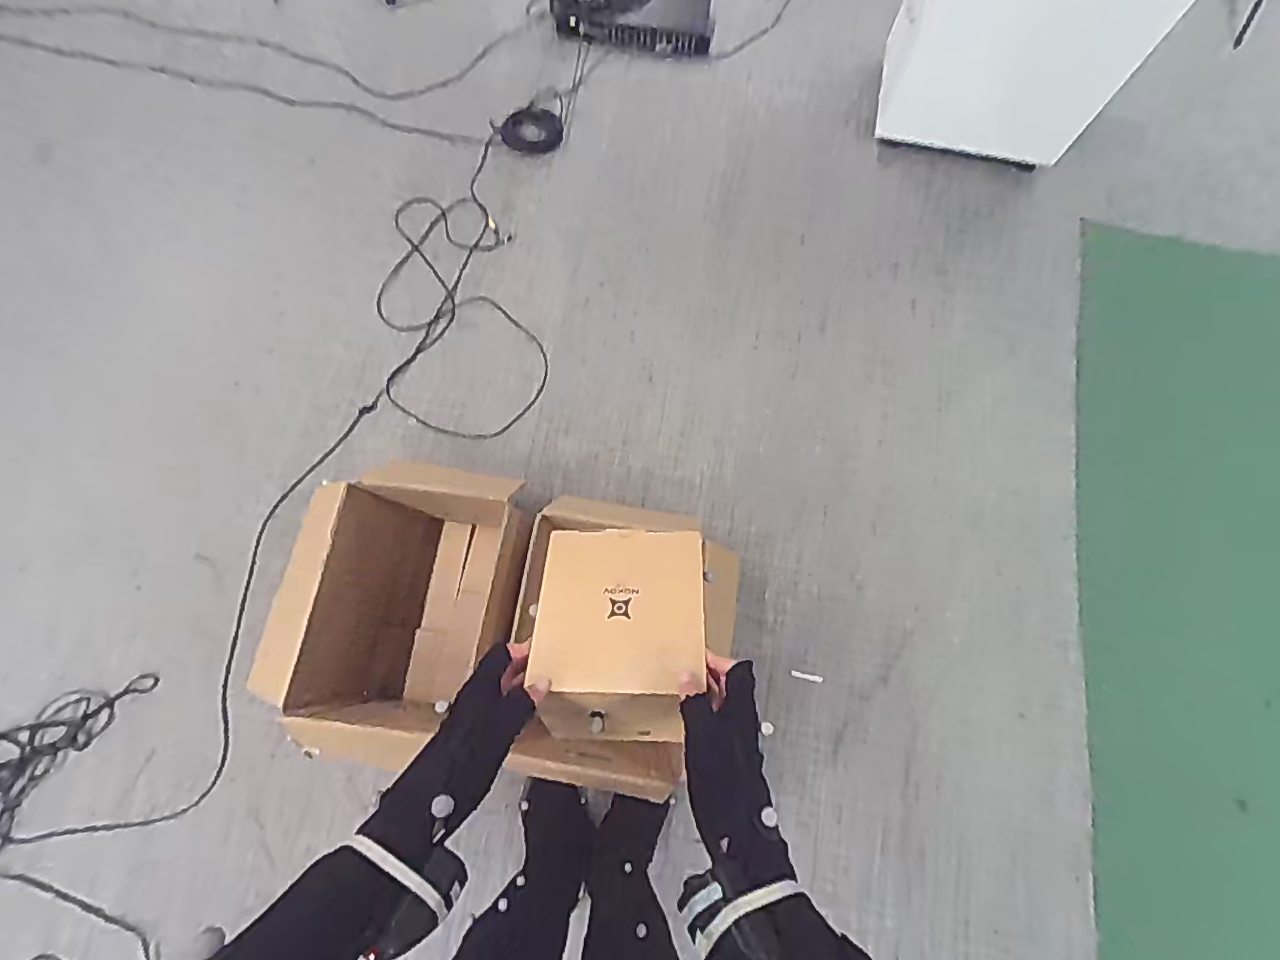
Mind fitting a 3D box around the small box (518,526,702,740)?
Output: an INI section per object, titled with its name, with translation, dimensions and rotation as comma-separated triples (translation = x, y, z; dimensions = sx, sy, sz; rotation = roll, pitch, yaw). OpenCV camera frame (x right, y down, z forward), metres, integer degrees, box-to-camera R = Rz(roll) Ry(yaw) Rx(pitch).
[small box]
translation = -0.019, 0.167, 0.579
dimensions = 0.168, 0.176, 0.179
rotation = 0, 50, 3
